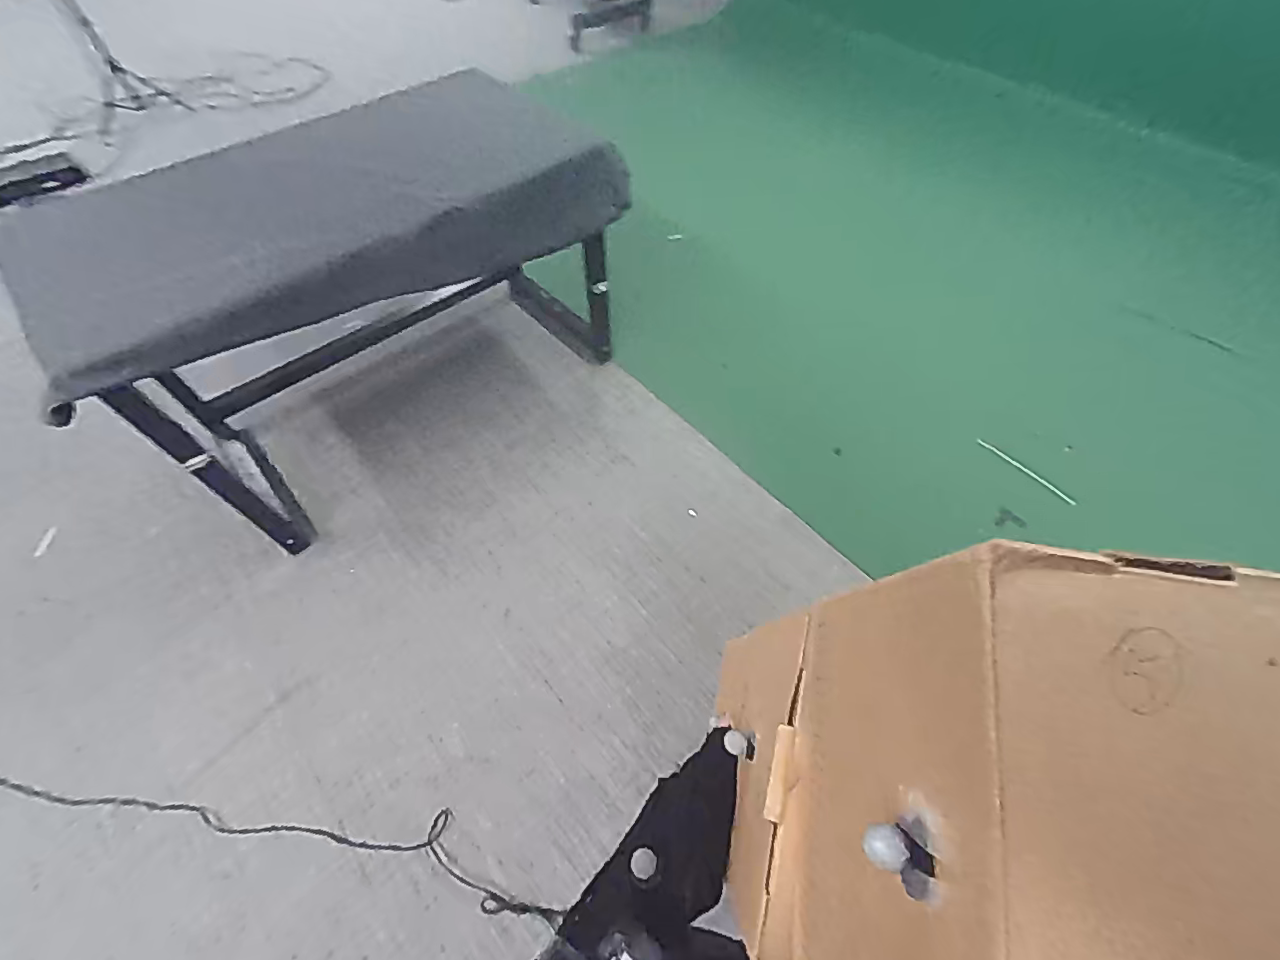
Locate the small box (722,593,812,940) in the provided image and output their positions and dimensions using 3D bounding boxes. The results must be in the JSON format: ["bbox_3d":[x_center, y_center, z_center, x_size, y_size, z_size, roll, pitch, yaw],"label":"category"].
[{"bbox_3d":[0.154,0.182,0.348,0.179,0.176,0.168,10,69,4],"label":"small box"}]
